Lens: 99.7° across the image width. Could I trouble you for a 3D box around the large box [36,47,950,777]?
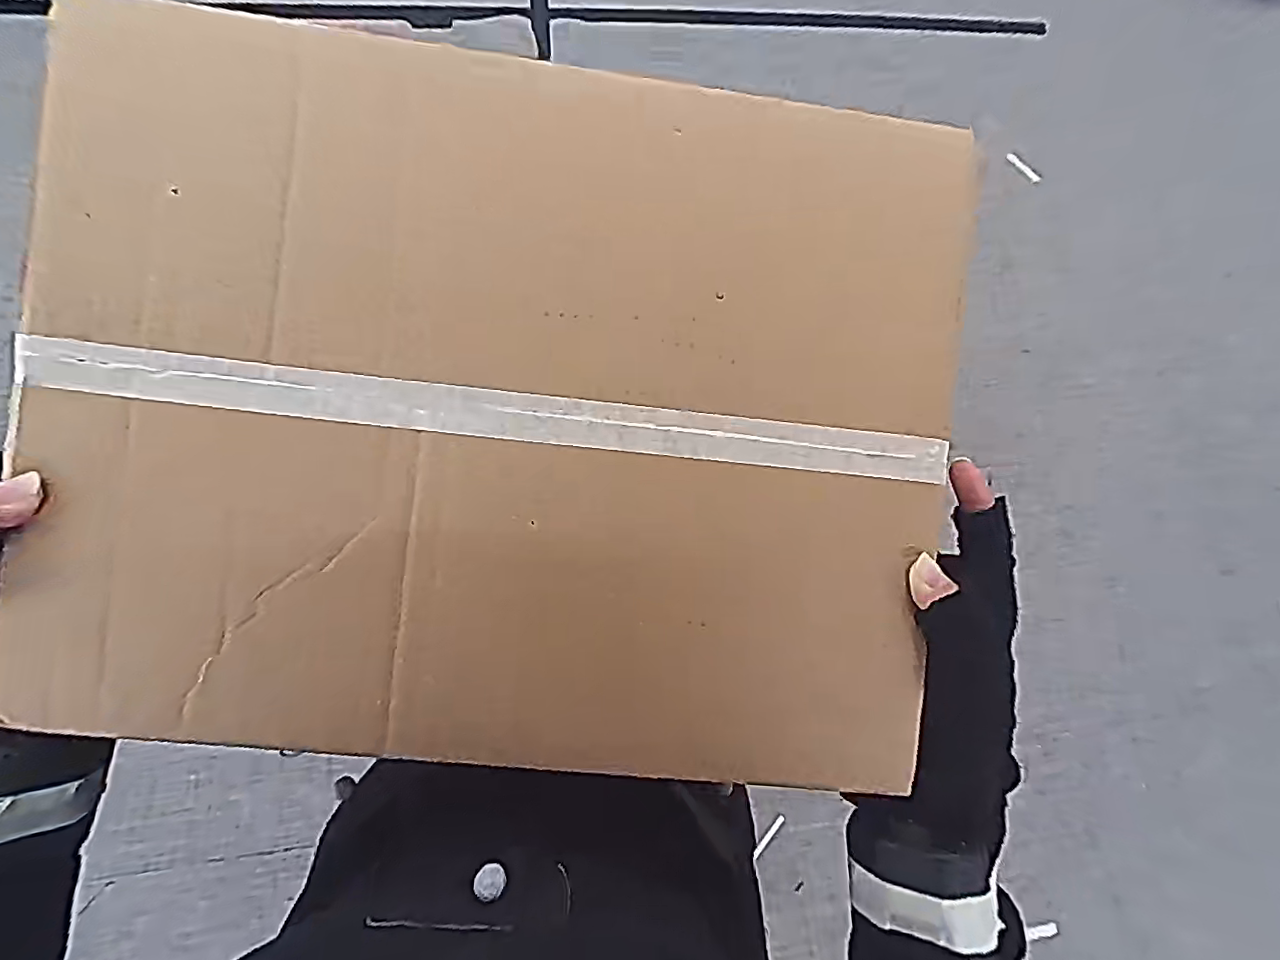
[{"bbox_3d":[-0.066,-0.025,0.401,0.408,0.320,0.320,6,89,-4],"label":"large box"}]
